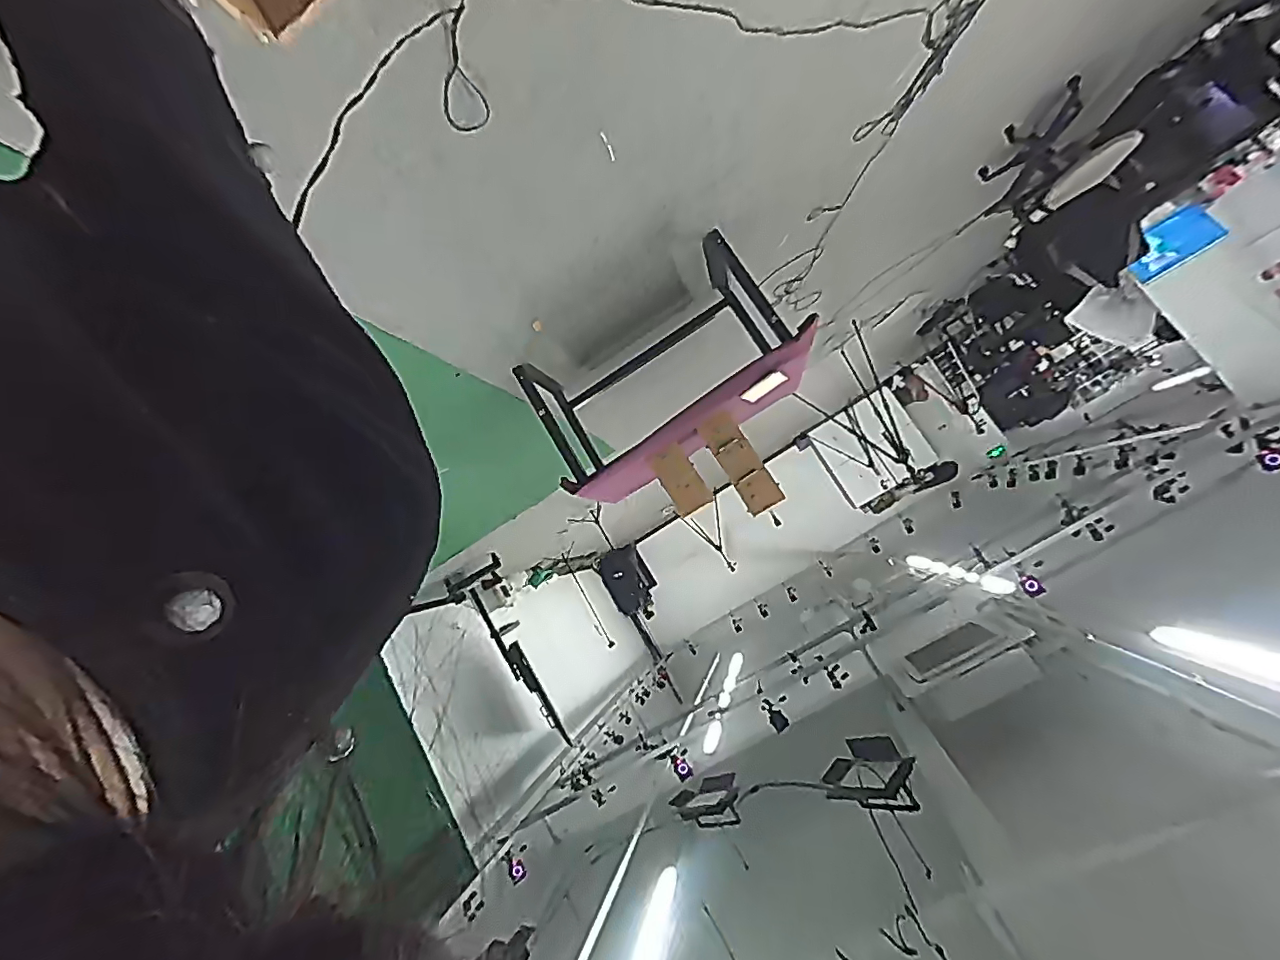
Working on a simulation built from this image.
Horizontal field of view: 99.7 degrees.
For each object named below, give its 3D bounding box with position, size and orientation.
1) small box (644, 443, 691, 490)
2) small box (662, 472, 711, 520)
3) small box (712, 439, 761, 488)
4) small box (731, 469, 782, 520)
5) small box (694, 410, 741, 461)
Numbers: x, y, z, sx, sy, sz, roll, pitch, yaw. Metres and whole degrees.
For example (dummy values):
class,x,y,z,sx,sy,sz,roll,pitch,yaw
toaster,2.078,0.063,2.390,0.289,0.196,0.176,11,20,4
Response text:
class,x,y,z,sx,sy,sz,roll,pitch,yaw
small box,0.137,-0.061,2.585,0.168,0.176,0.179,-33,169,7
small box,0.223,0.075,2.561,0.168,0.176,0.179,-32,169,7
small box,0.449,-0.071,2.518,0.168,0.176,0.179,-32,170,7
small box,0.530,0.066,2.482,0.168,0.176,0.179,-32,169,6
small box,0.367,-0.209,2.556,0.168,0.176,0.179,-32,168,7
